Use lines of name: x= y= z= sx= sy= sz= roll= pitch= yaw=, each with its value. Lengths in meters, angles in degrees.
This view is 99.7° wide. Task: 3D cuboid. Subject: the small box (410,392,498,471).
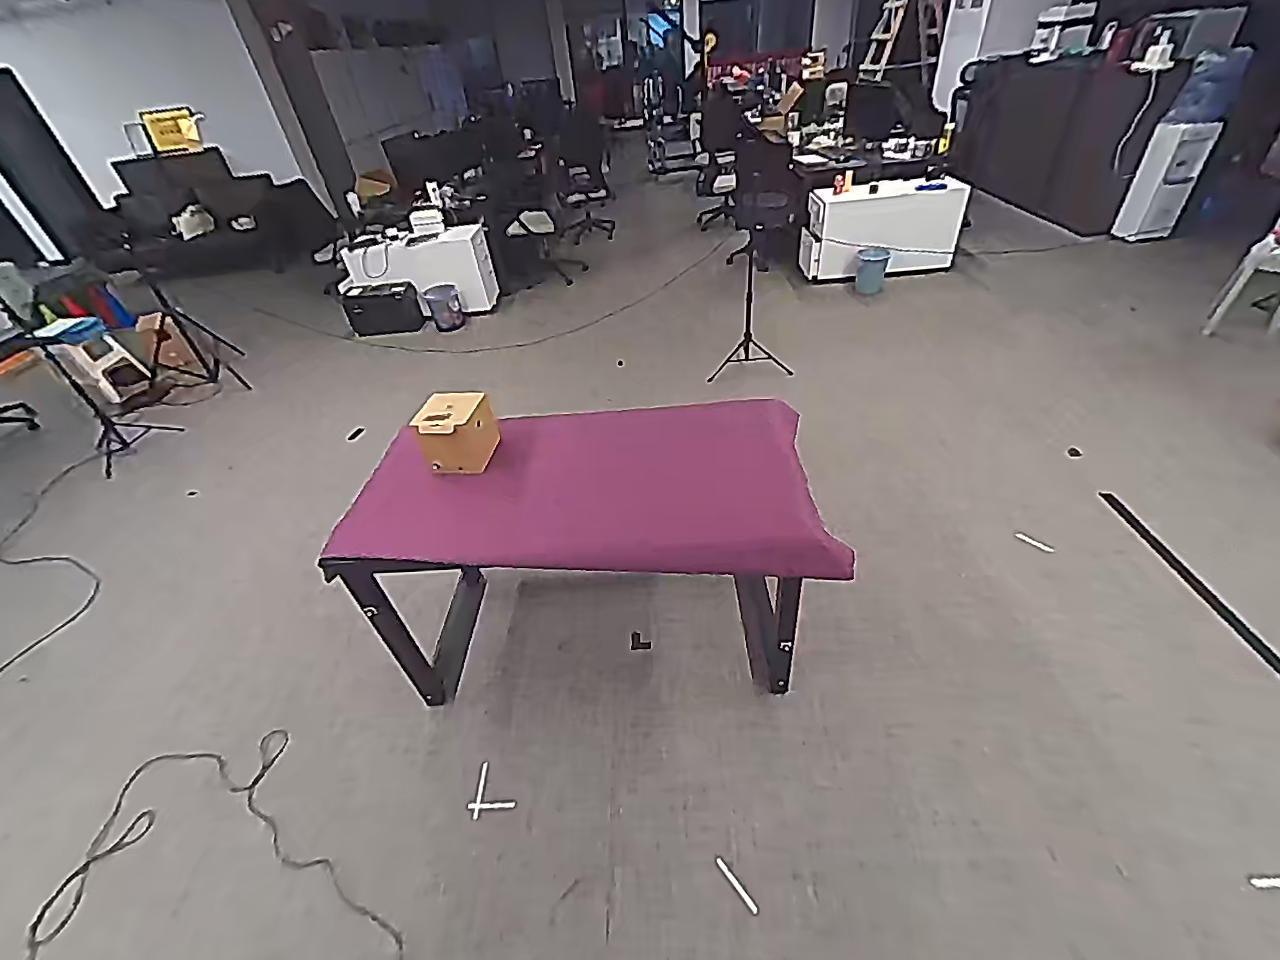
small box: x=-0.529 y=-0.138 z=1.567 sx=0.168 sy=0.176 sz=0.179 roll=0 pitch=40 yaw=8
